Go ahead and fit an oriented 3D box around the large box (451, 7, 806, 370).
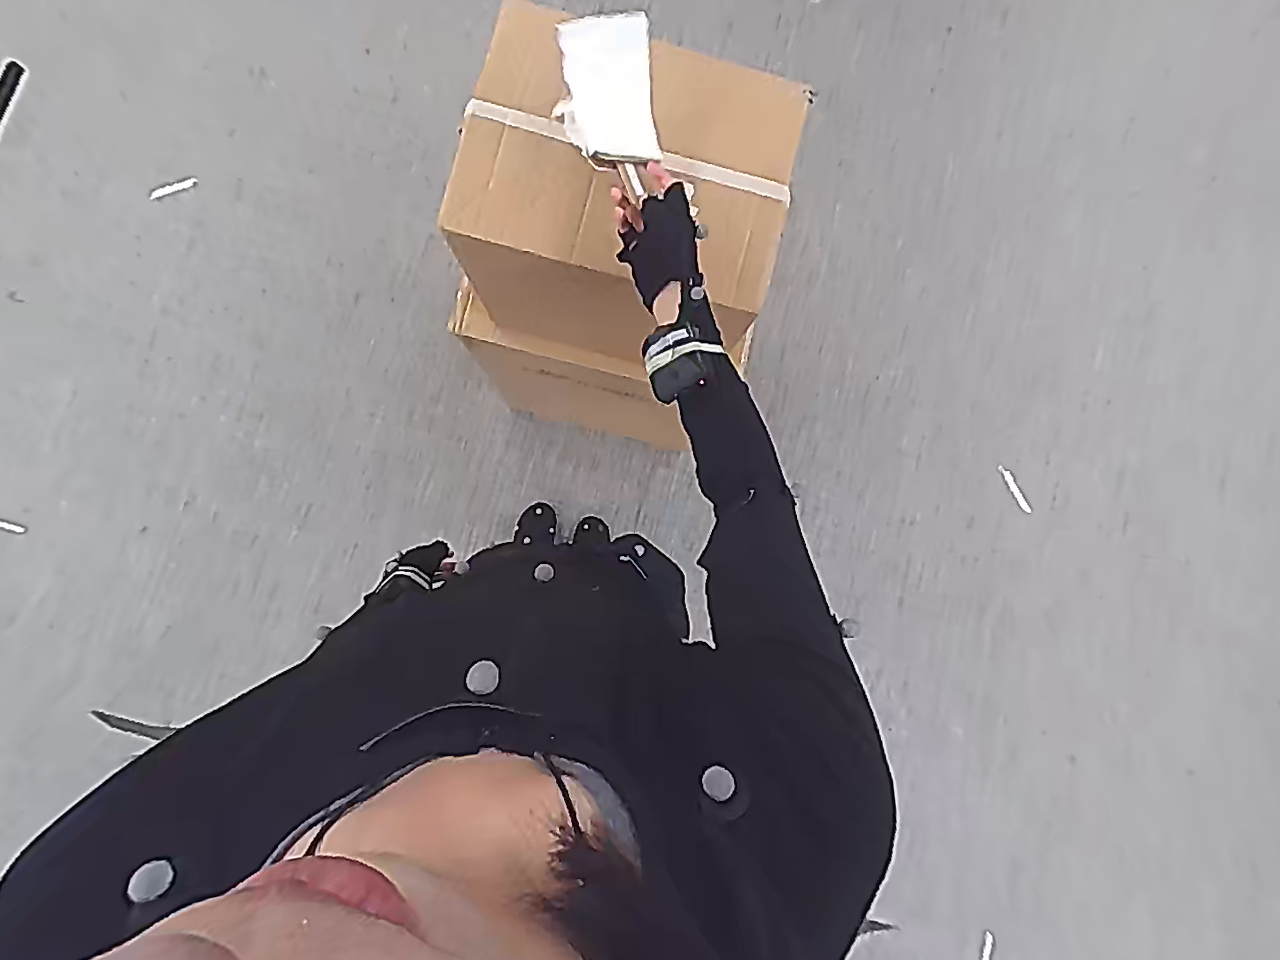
[{"bbox_3d":[-0.020,-0.399,0.829,0.408,0.320,0.320,14,85,-4],"label":"large box"}]
